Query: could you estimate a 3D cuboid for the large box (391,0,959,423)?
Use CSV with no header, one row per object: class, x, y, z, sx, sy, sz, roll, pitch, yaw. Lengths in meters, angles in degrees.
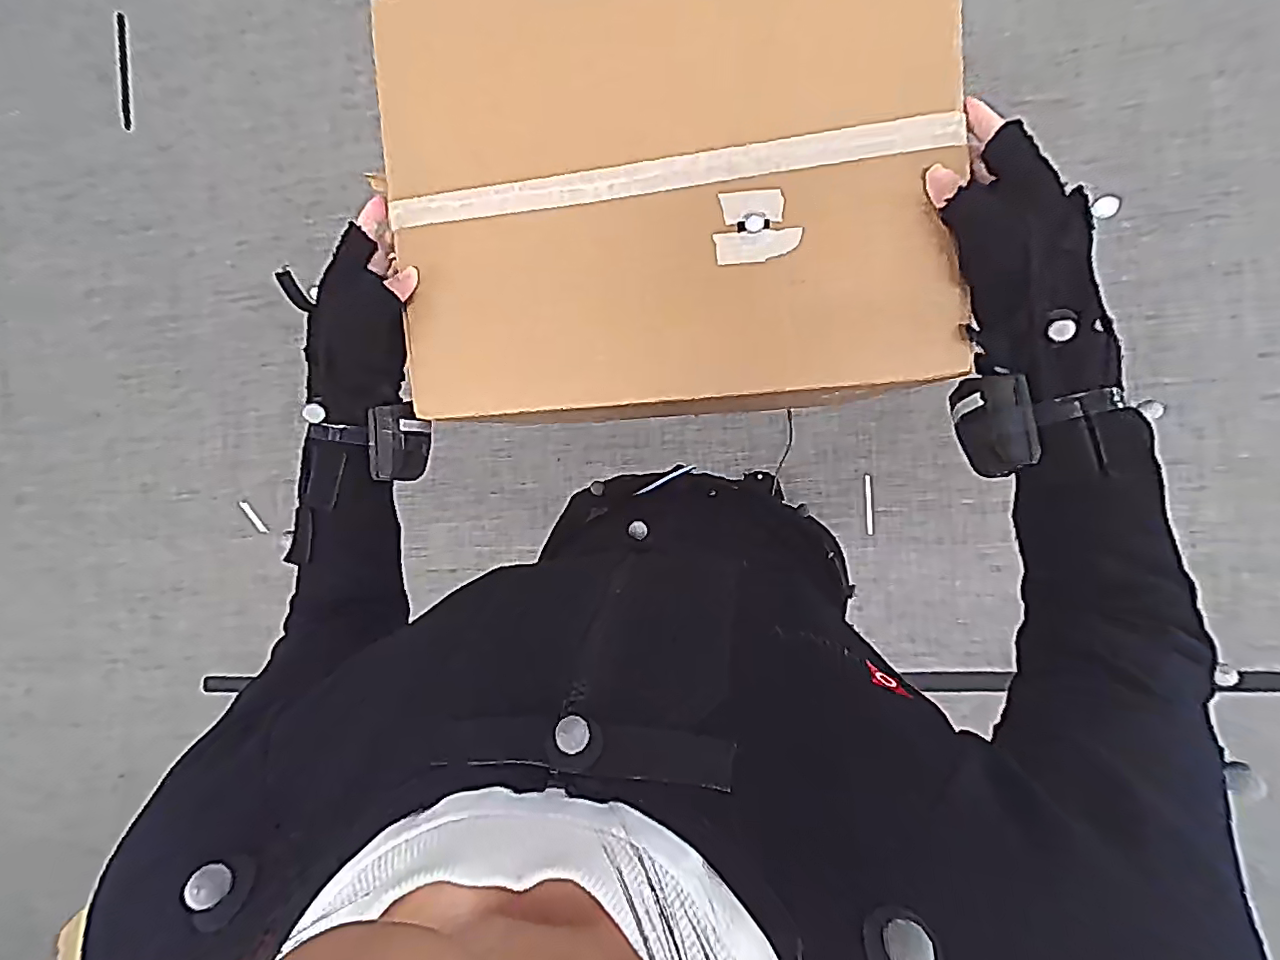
large box,0.035,-0.232,0.543,0.408,0.320,0.320,-4,95,8
